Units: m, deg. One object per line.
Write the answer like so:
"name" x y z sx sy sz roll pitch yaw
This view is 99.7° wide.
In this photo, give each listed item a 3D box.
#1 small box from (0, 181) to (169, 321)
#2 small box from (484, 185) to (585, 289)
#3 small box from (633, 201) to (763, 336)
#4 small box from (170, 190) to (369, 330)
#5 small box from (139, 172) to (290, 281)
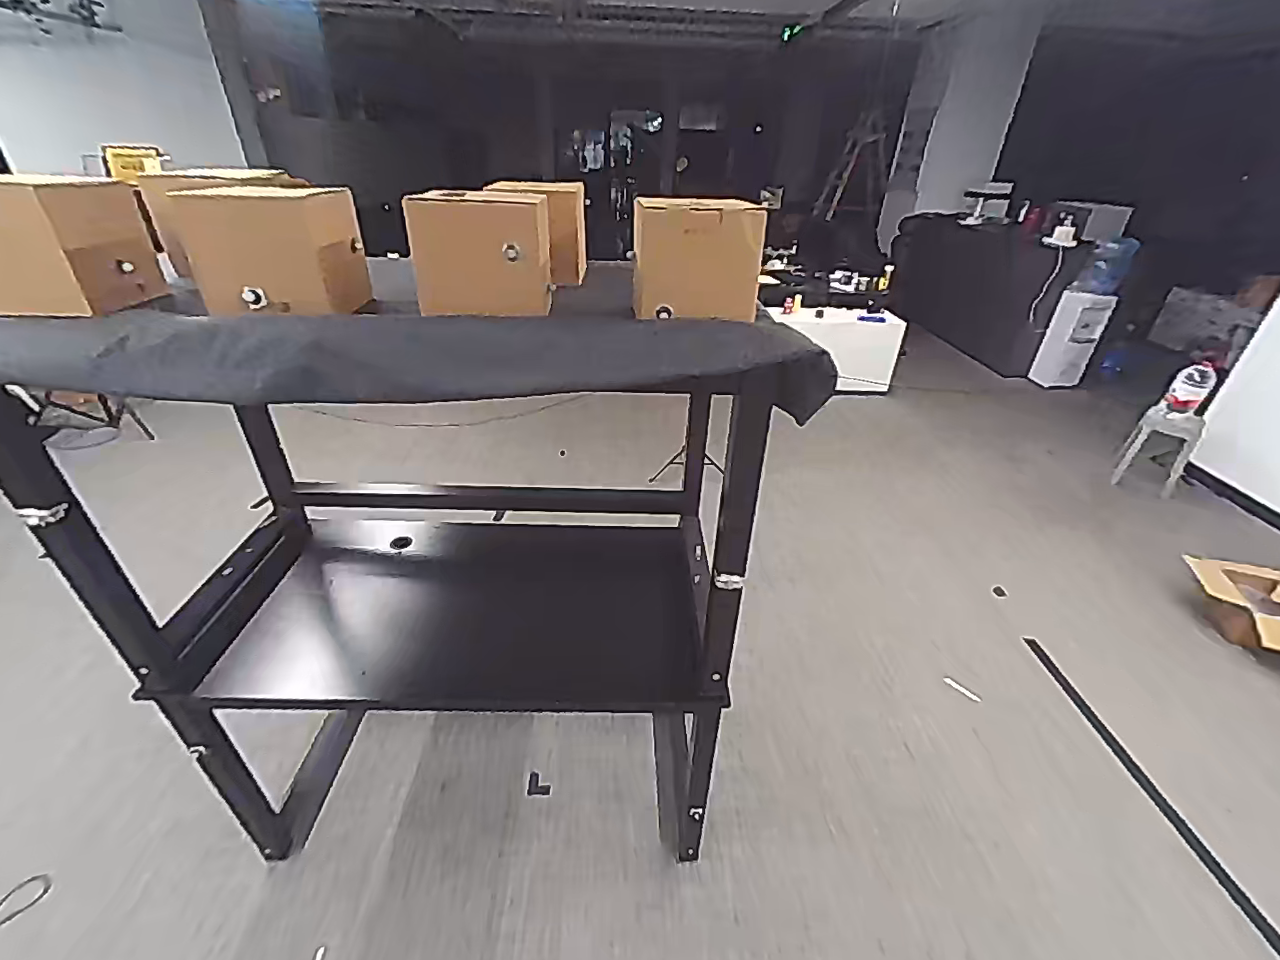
"small box" -0.852 -0.332 0.781 0.179 0.176 0.168 0 31 -5
"small box" -0.196 -0.478 1.059 0.168 0.176 0.179 0 32 -2
"small box" 0.076 -0.318 0.811 0.168 0.176 0.179 -1 30 -4
"small box" -0.520 -0.327 0.795 0.168 0.176 0.179 -2 31 -5
"small box" -0.773 -0.481 1.030 0.179 0.176 0.168 1 32 -4
